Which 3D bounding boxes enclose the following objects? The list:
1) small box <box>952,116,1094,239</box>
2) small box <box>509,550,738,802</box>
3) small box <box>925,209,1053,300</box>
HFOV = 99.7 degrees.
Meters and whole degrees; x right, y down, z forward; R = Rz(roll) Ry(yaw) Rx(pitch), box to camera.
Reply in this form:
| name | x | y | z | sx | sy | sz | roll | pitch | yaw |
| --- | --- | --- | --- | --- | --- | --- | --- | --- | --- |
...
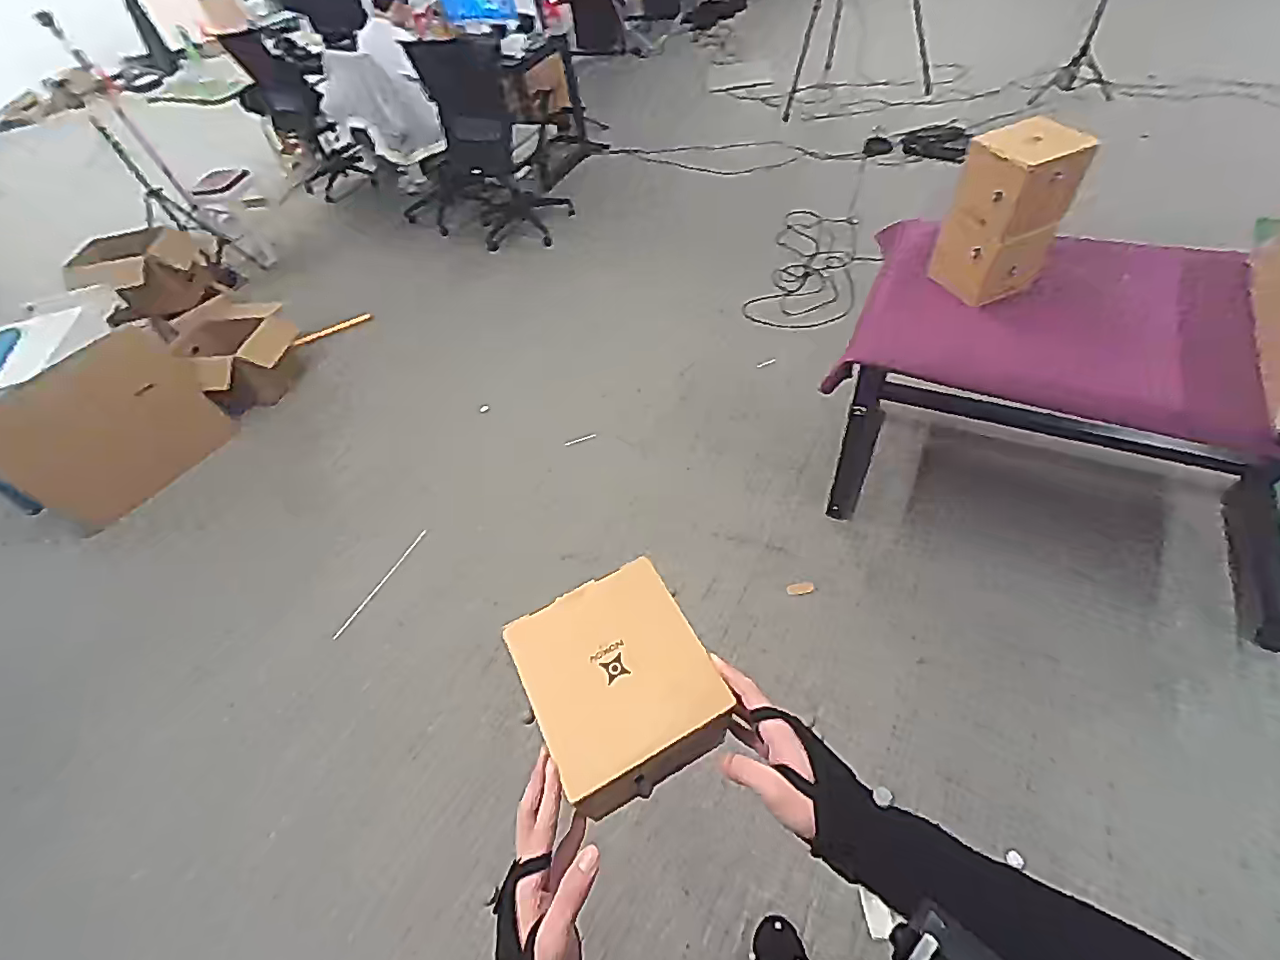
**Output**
| name | x | y | z | sx | sy | sz | roll | pitch | yaw |
| --- | --- | --- | --- | --- | --- | --- | --- | --- | --- |
| small box | 0.823 | -0.660 | 1.191 | 0.179 | 0.176 | 0.168 | -20 | 54 | -6 |
| small box | -0.014 | 0.212 | 0.570 | 0.168 | 0.176 | 0.179 | -25 | 54 | -13 |
| small box | 0.838 | -0.561 | 1.319 | 0.168 | 0.176 | 0.179 | -20 | 53 | -7 |
